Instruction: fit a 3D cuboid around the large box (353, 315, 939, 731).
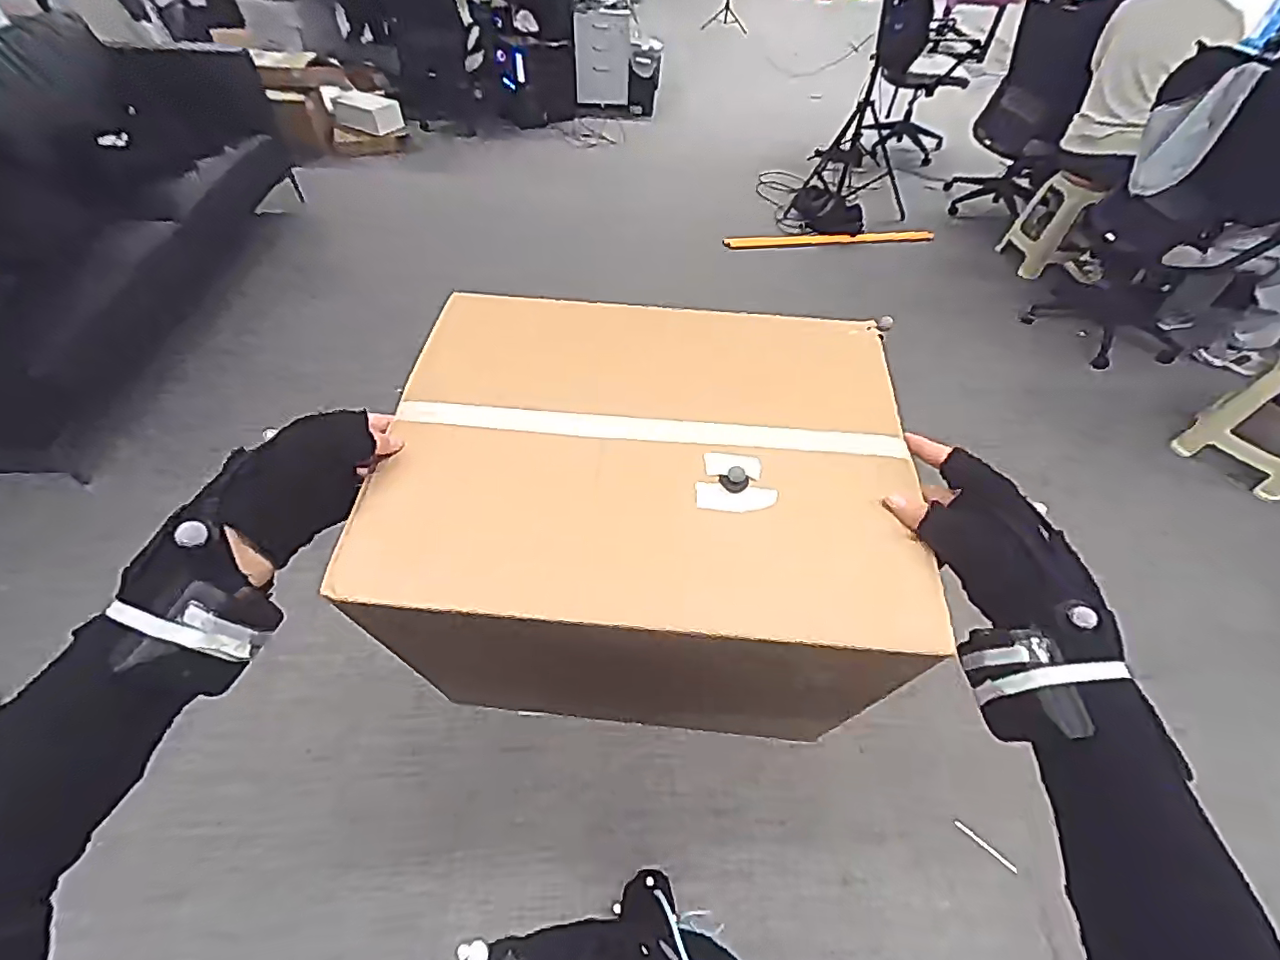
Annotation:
[{"bbox_3d":[0.008,0.056,0.566,0.408,0.320,0.320,4,56,2],"label":"large box"}]
